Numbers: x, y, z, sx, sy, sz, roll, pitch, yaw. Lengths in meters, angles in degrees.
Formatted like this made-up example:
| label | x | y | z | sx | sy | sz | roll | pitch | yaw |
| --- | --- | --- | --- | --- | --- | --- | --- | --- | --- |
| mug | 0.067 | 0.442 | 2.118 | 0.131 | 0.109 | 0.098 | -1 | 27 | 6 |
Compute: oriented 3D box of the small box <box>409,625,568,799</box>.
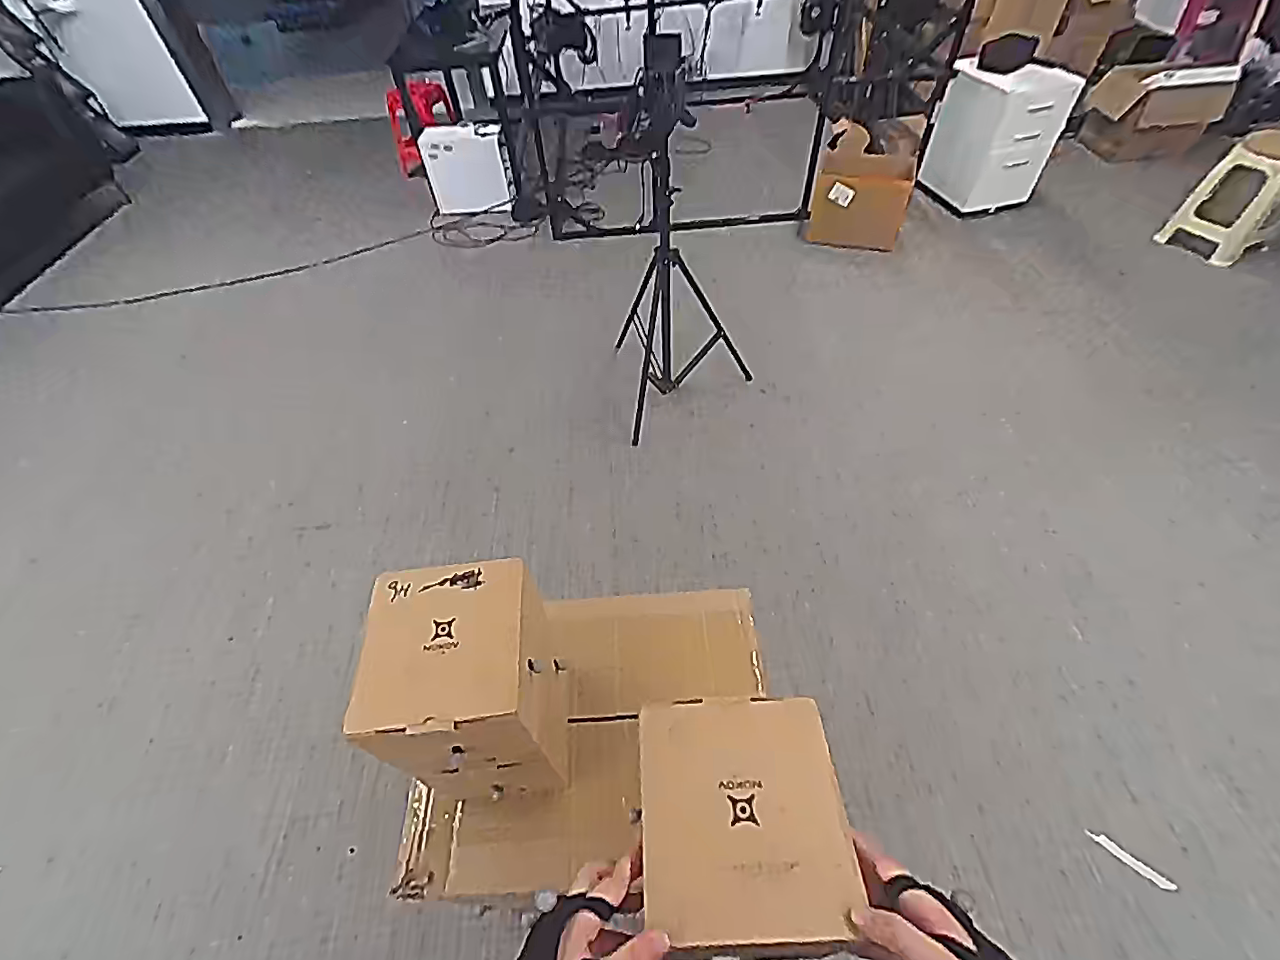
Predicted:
| label | x | y | z | sx | sy | sz | roll | pitch | yaw |
| --- | --- | --- | --- | --- | --- | --- | --- | --- | --- |
| small box | -0.194 | 0.322 | 0.748 | 0.168 | 0.176 | 0.179 | -5 | 51 | -1 |

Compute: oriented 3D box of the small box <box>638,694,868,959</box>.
| label | x | y | z | sx | sy | sz | roll | pitch | yaw |
| --- | --- | --- | --- | --- | --- | --- | --- | --- | --- |
| small box | 0.081 | 0.320 | 0.501 | 0.168 | 0.176 | 0.179 | -2 | 45 | -1 |

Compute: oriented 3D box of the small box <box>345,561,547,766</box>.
| label | x | y | z | sx | sy | sz | roll | pitch | yaw |
| --- | --- | --- | --- | --- | --- | --- | --- | --- | --- |
| small box | -0.202 | 0.216 | 0.623 | 0.168 | 0.176 | 0.179 | -6 | 51 | -2 |
